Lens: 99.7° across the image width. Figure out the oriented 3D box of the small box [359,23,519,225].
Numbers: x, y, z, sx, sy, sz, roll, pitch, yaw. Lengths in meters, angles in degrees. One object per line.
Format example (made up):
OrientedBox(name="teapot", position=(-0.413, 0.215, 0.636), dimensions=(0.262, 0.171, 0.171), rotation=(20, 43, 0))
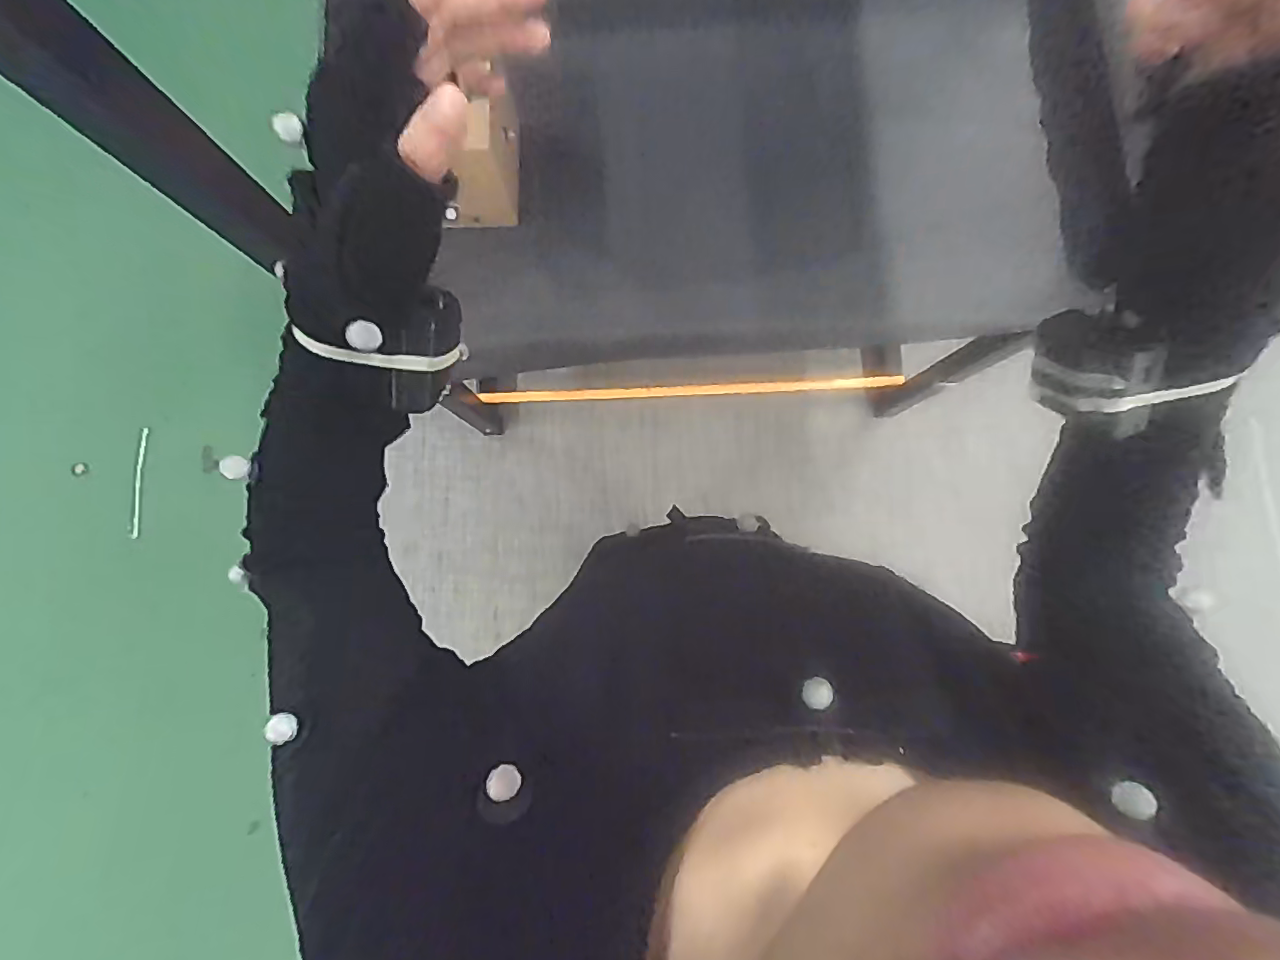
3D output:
OrientedBox(name="small box", position=(-0.270, -0.490, 0.763), dimensions=(0.168, 0.176, 0.179), rotation=(-1, 84, -1))
